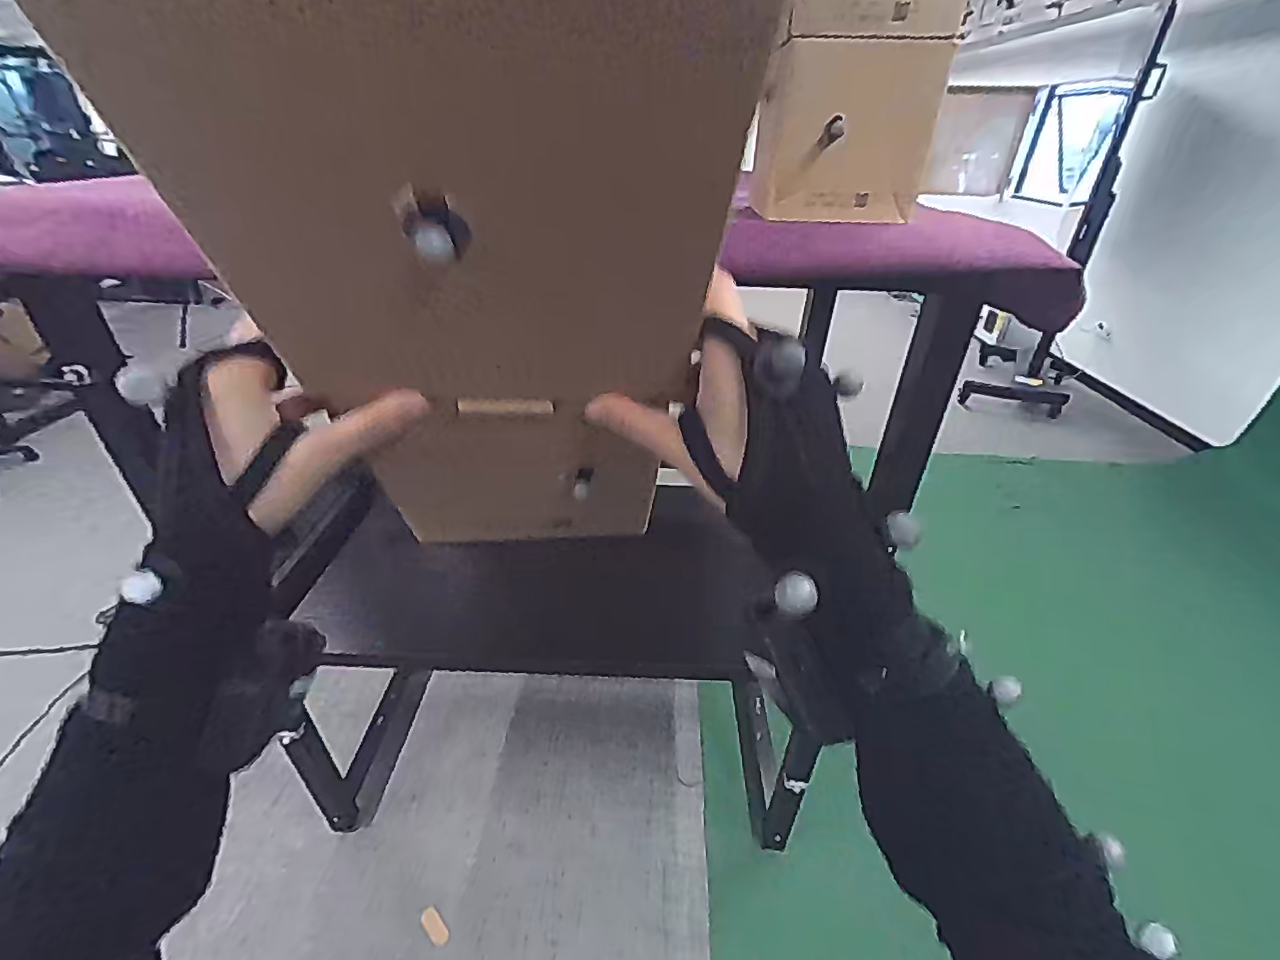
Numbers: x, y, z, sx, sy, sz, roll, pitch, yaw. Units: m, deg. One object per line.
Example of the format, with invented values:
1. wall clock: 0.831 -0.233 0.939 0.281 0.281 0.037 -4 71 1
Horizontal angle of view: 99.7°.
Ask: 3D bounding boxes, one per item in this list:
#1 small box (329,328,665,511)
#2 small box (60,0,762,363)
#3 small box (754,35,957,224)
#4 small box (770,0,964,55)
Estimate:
1. small box: -0.076 -0.088 0.370 0.168 0.176 0.179 0 59 -6
2. small box: -0.063 -0.163 0.222 0.179 0.176 0.168 0 62 -5
3. small box: 0.234 -0.405 0.640 0.168 0.176 0.179 2 32 2
4. small box: 0.235 -0.544 0.553 0.168 0.176 0.179 3 33 2
